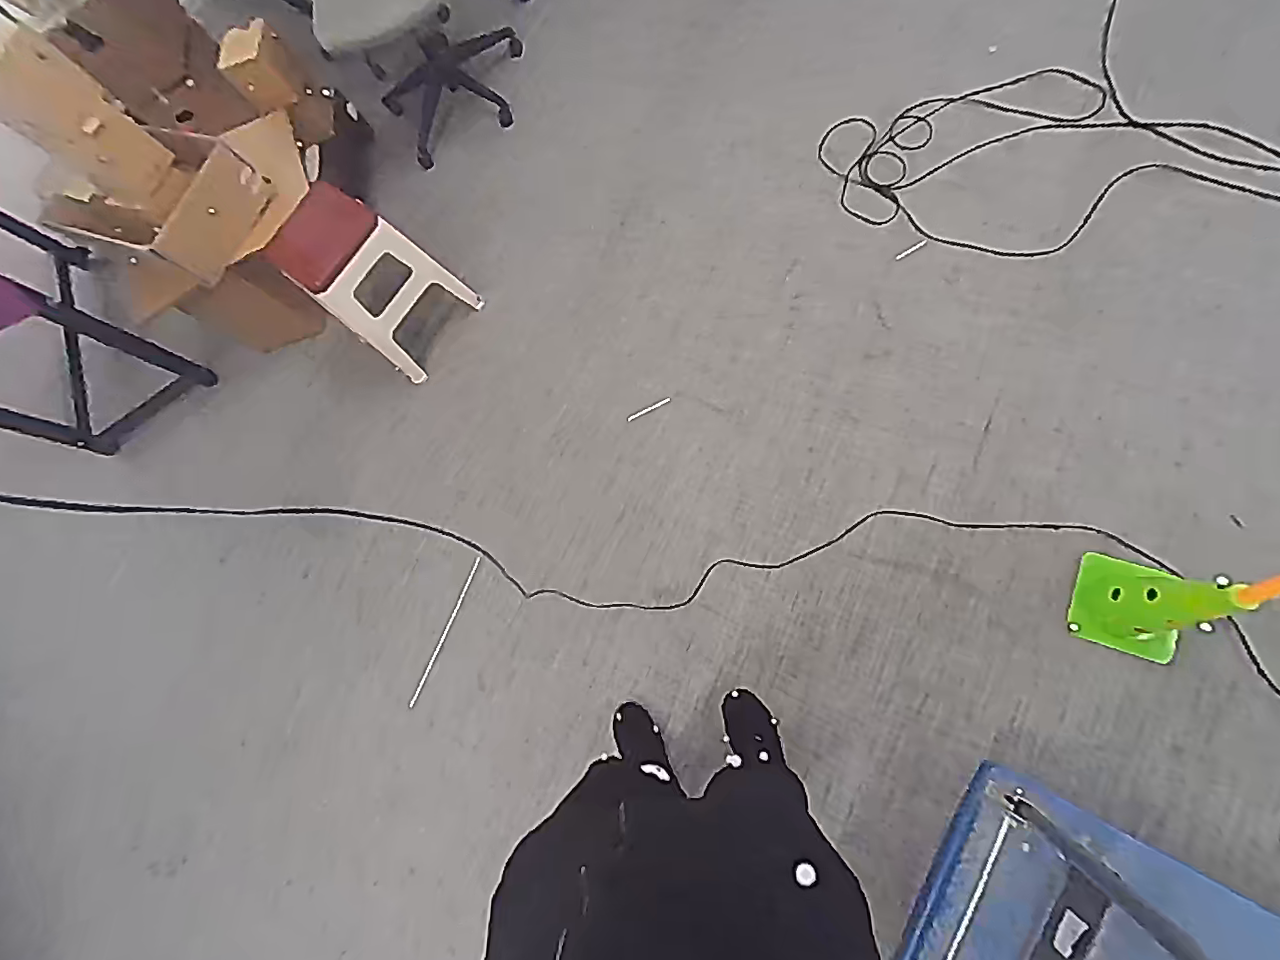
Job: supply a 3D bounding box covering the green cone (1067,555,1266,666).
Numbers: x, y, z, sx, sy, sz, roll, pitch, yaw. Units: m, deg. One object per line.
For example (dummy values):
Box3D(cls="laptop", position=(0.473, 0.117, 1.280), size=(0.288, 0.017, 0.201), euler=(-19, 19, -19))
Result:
Box3D(cls="green cone", position=(1.038, 0.238, 1.041), size=(0.200, 0.368, 0.202), euler=(18, 79, 19))
